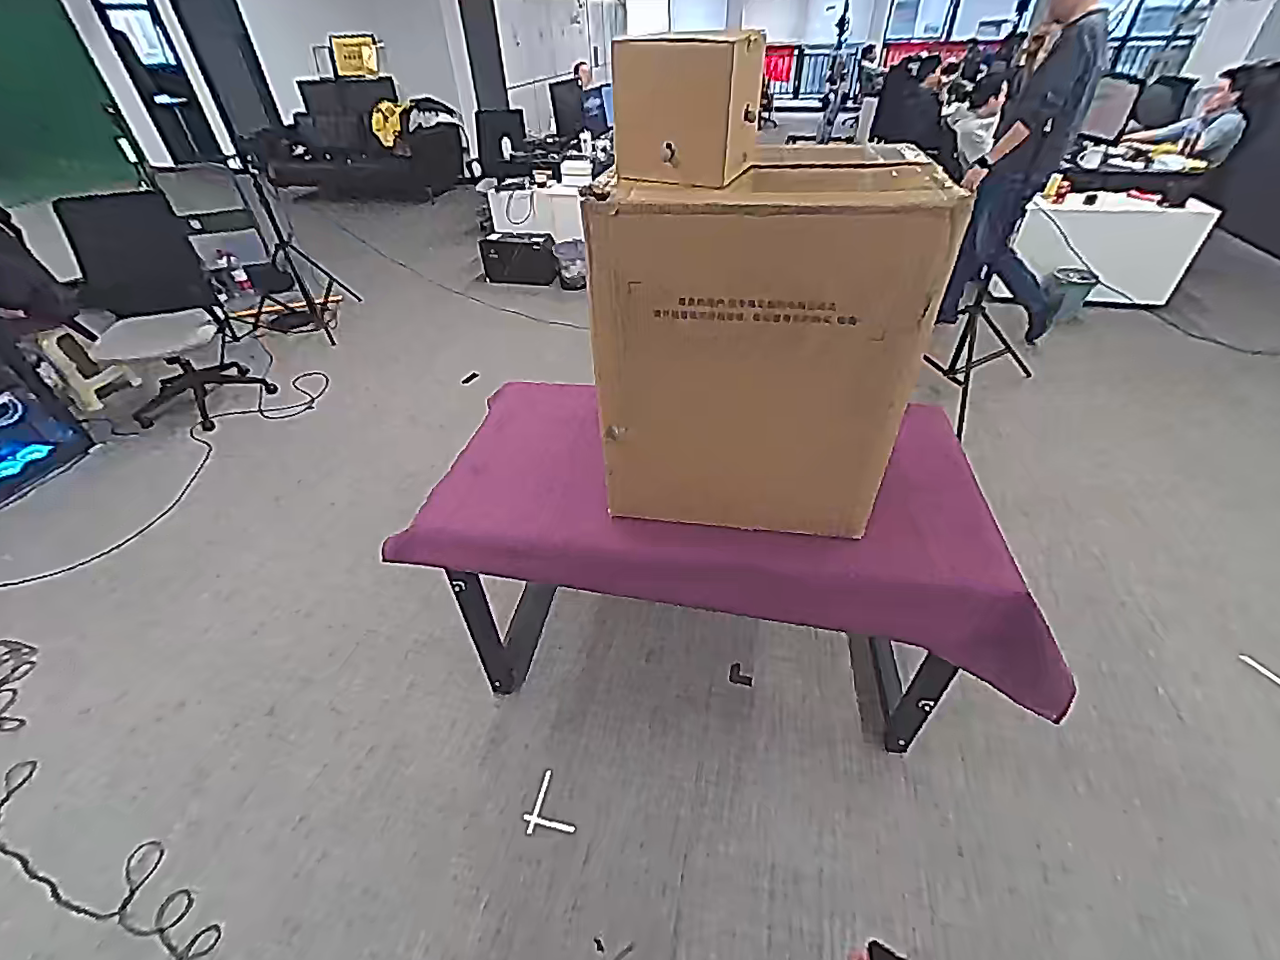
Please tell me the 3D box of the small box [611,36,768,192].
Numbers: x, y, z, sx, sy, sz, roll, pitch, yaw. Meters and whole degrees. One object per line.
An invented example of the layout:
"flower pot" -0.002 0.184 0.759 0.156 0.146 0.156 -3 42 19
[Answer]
"small box" 0.073 -0.541 0.803 0.179 0.176 0.168 16 45 19
